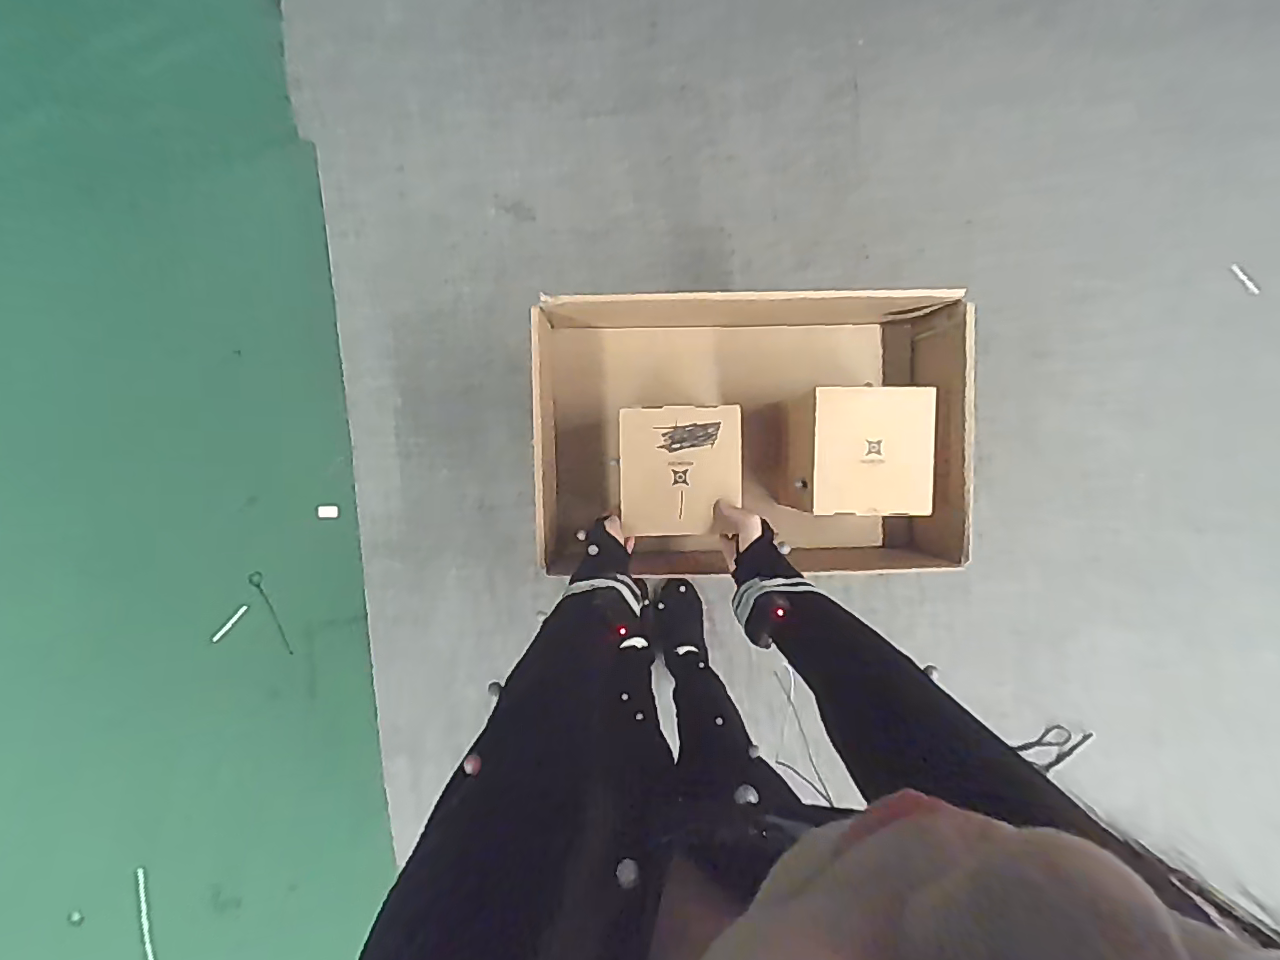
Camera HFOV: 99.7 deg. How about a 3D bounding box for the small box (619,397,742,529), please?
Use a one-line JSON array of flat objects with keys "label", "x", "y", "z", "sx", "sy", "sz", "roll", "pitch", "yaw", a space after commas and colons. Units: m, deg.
[{"label": "small box", "x": 0.052, "y": -0.025, "z": 0.802, "sx": 0.168, "sy": 0.176, "sz": 0.179, "roll": -1, "pitch": 93, "yaw": -1}]
